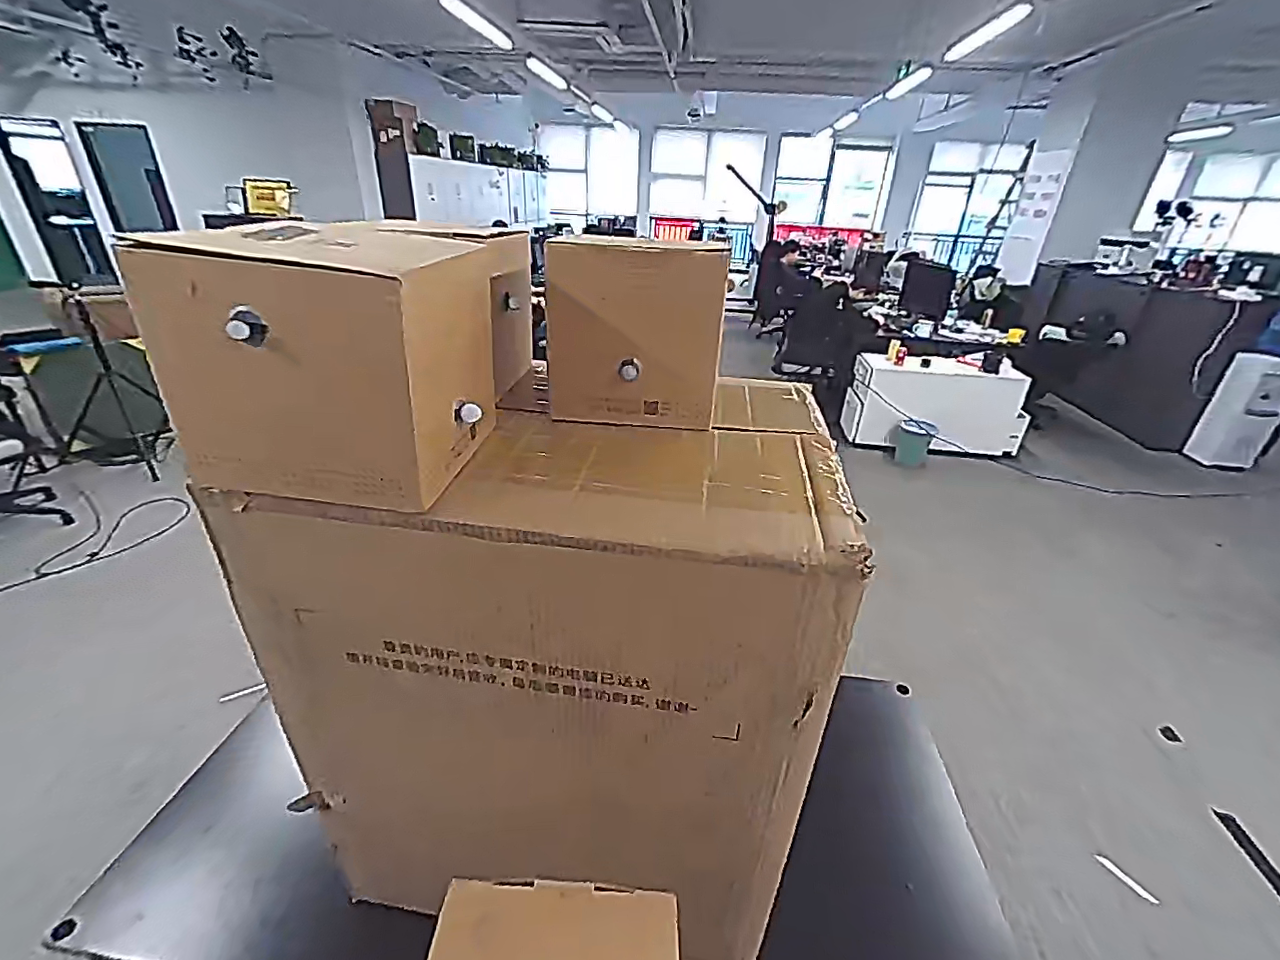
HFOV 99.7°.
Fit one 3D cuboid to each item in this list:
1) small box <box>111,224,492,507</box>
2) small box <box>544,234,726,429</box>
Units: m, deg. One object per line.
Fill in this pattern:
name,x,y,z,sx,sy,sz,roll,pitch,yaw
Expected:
small box,-0.226,-0.094,0.419,0.179,0.176,0.168,7,29,2
small box,-0.001,-0.166,0.579,0.168,0.176,0.179,4,26,4
